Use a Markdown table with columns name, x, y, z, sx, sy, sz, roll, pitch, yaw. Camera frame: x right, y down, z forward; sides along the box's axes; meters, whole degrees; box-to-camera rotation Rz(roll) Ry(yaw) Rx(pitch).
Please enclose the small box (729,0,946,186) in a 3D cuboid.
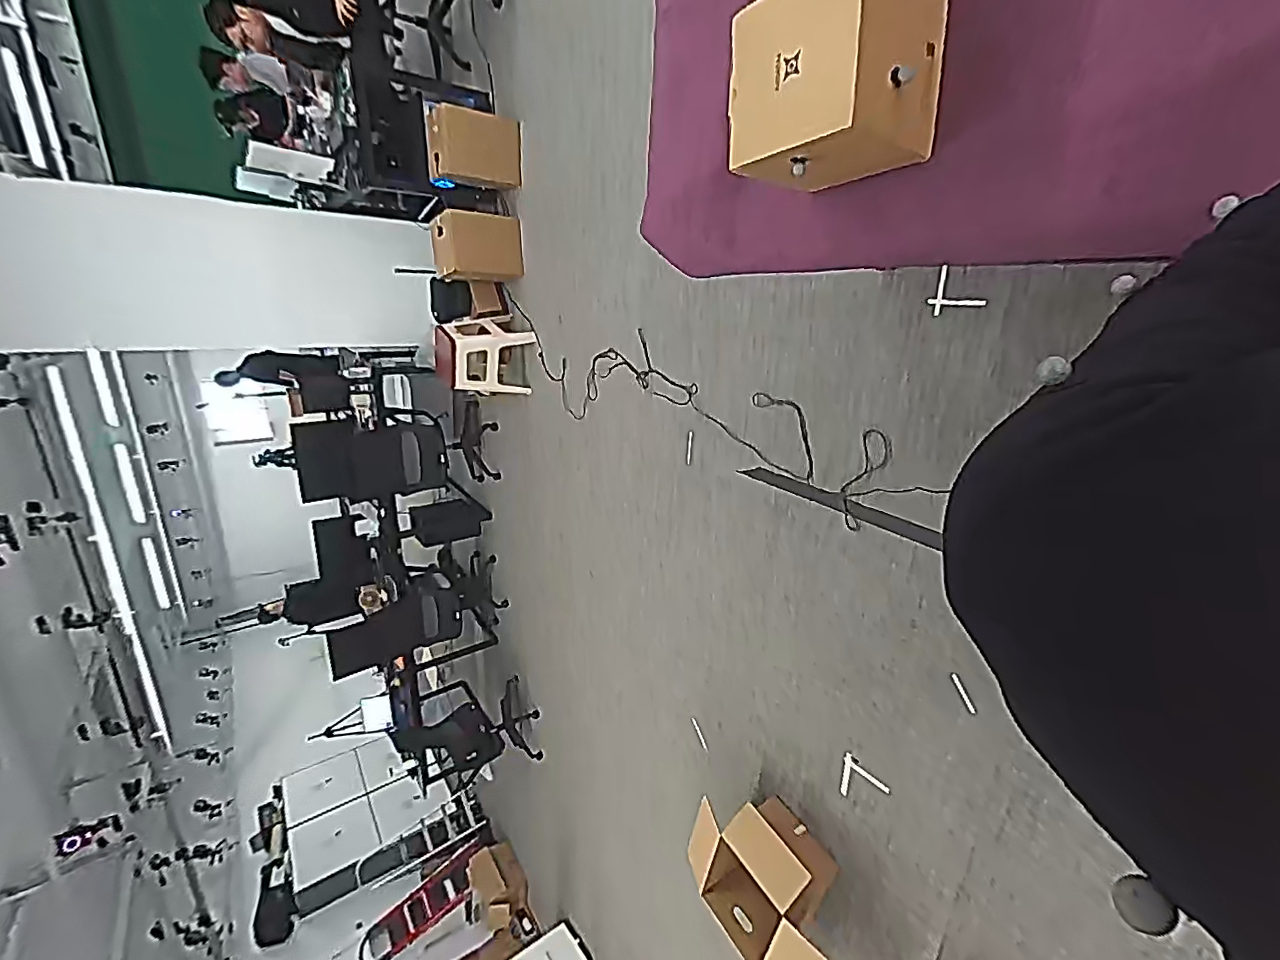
| name | x | y | z | sx | sy | sz | roll | pitch | yaw |
| --- | --- | --- | --- | --- | --- | --- | --- | --- | --- |
| small box | 0.225 | -0.459 | 0.628 | 0.179 | 0.176 | 0.168 | 18 | 113 | 52 |
